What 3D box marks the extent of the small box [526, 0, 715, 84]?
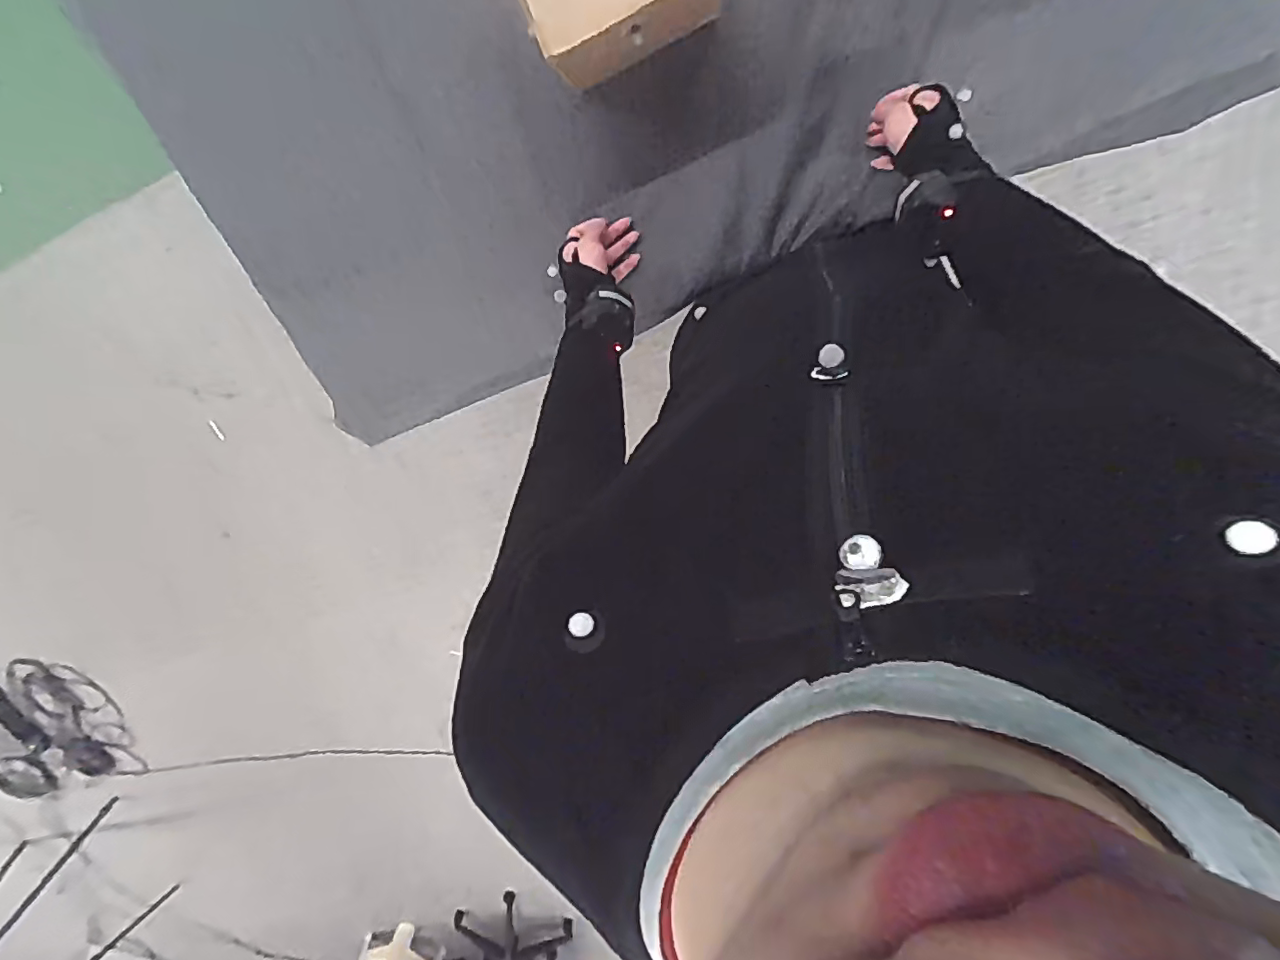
[{"bbox_3d":[-0.028,-0.509,0.504,0.179,0.176,0.168,-20,115,13],"label":"small box"}]
